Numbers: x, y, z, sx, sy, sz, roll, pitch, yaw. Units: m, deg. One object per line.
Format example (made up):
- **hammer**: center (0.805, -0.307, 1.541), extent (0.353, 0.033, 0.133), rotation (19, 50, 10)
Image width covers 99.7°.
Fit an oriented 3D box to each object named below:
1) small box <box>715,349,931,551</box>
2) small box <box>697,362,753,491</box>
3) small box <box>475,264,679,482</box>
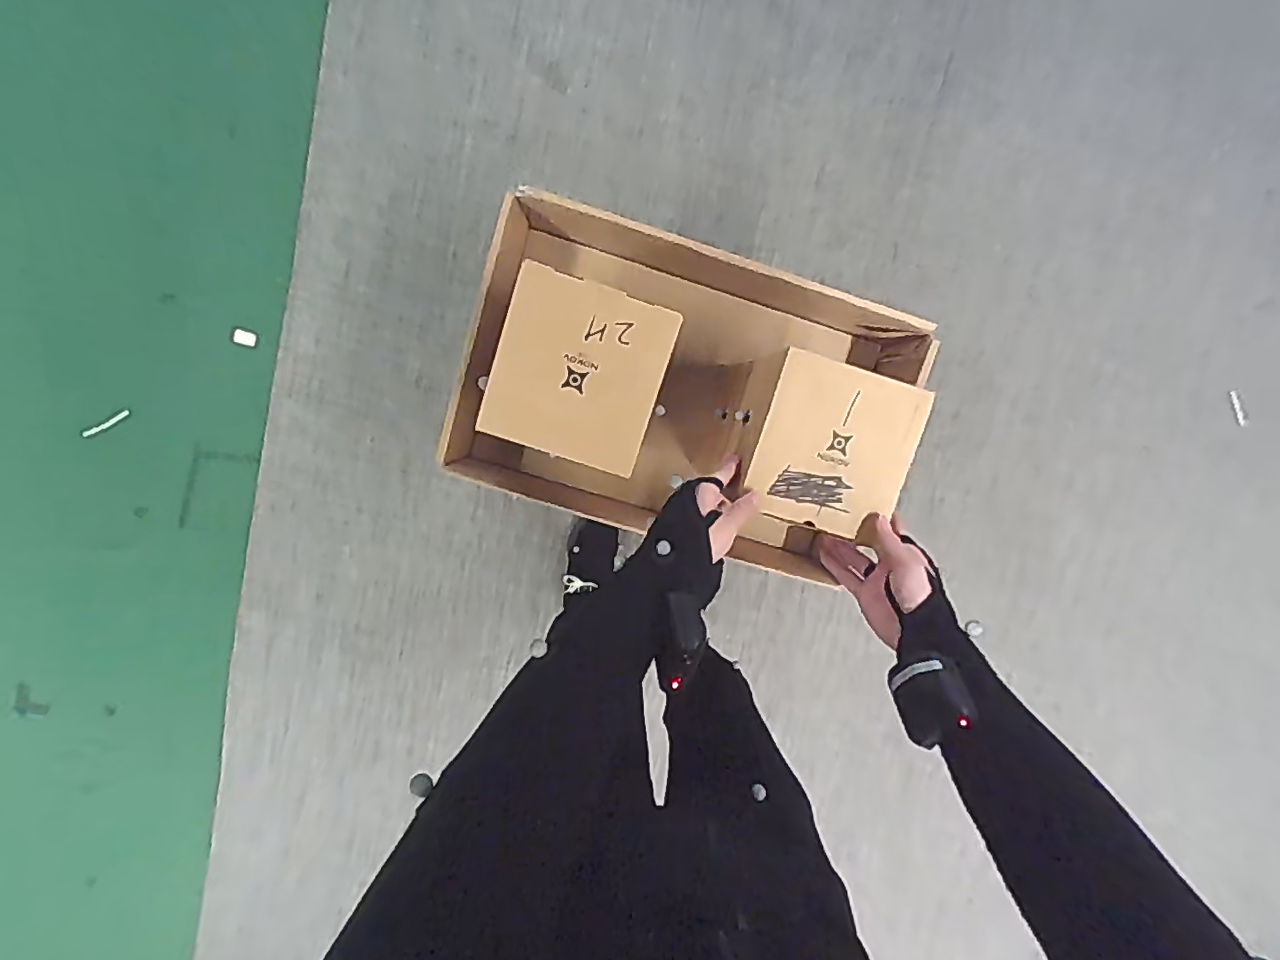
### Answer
- **small box**: center (0.197, -0.039, 0.642), extent (0.168, 0.176, 0.179), rotation (17, 96, -4)
- **small box**: center (0.190, -0.060, 0.804), extent (0.168, 0.176, 0.179), rotation (17, 97, -4)
- **small box**: center (-0.066, -0.115, 0.618), extent (0.168, 0.176, 0.179), rotation (18, 97, -6)
